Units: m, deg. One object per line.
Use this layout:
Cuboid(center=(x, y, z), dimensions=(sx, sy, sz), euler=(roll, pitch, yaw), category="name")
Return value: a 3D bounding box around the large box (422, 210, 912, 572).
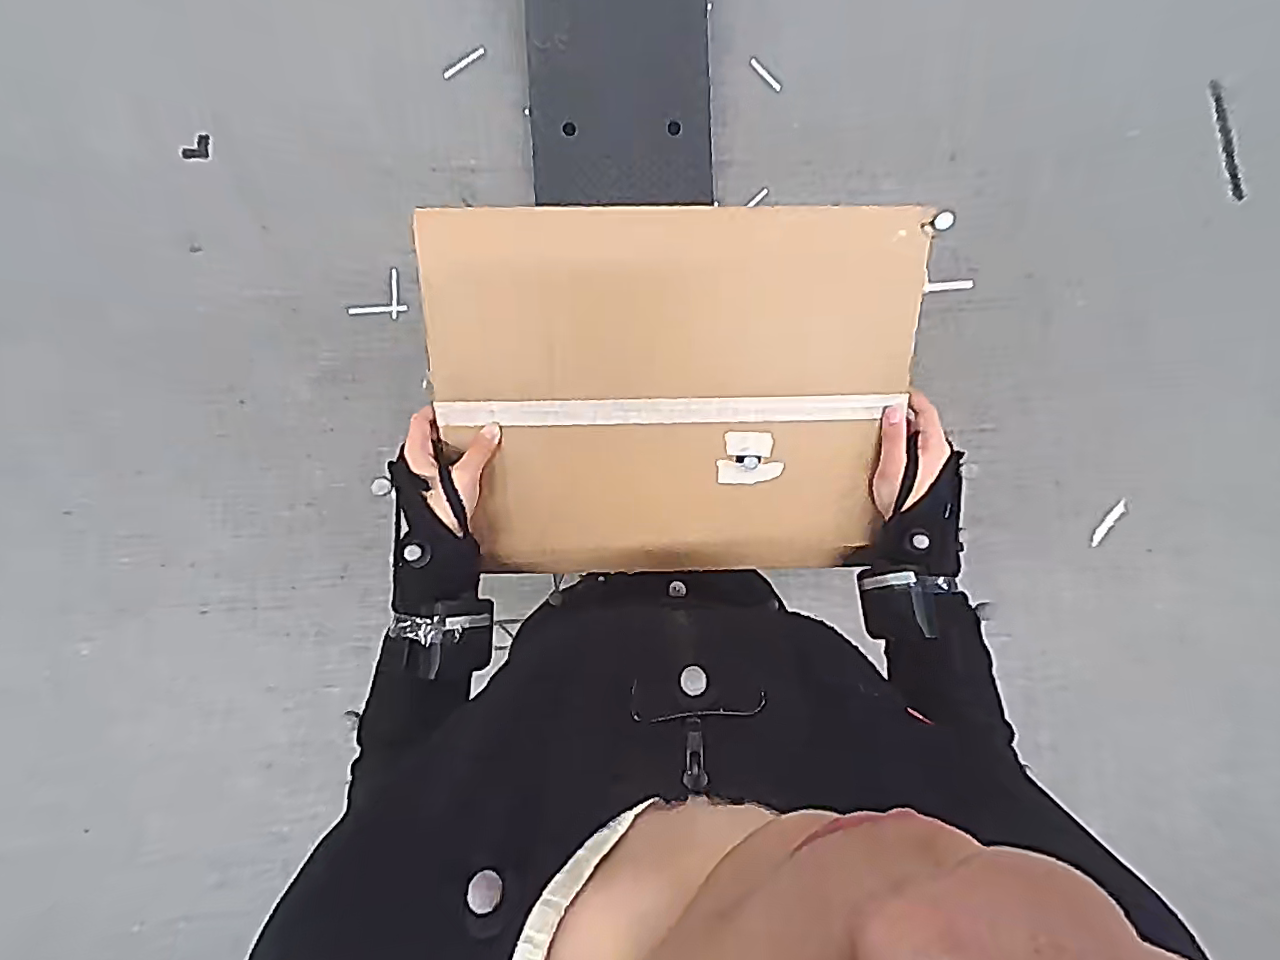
Cuboid(center=(0.020, -0.112, 0.620), dimensions=(0.408, 0.320, 0.320), euler=(-2, 110, -3), category="large box")
